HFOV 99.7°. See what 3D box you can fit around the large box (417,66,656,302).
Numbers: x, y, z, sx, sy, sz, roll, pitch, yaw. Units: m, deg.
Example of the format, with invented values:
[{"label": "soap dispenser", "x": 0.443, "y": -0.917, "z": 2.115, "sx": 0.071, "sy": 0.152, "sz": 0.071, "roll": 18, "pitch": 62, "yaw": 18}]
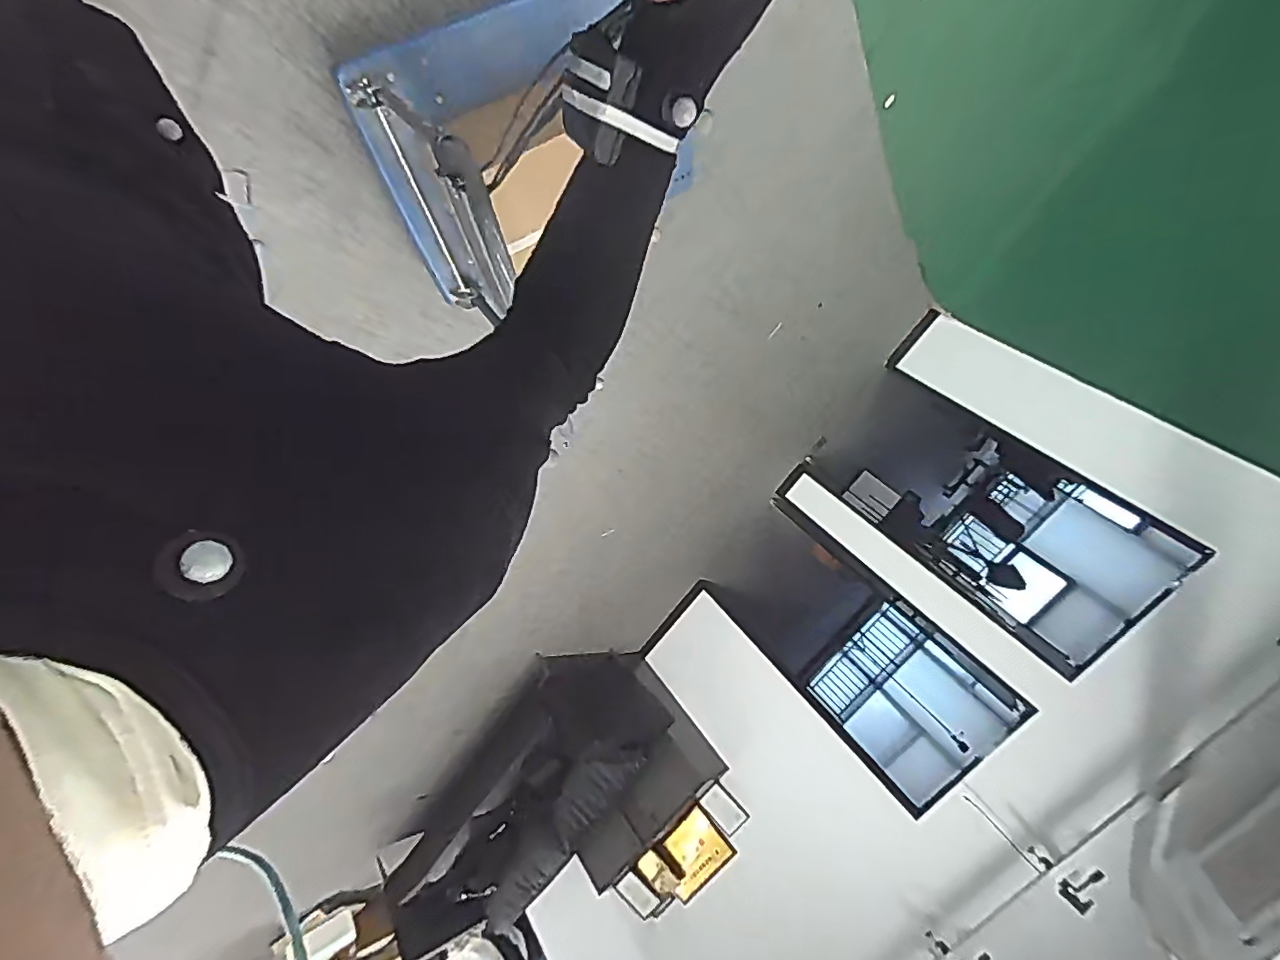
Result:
[{"label": "large box", "x": -0.229, "y": -0.701, "z": 1.274, "sx": 0.408, "sy": 0.320, "sz": 0.320, "roll": -35, "pitch": 147, "yaw": -14}]
